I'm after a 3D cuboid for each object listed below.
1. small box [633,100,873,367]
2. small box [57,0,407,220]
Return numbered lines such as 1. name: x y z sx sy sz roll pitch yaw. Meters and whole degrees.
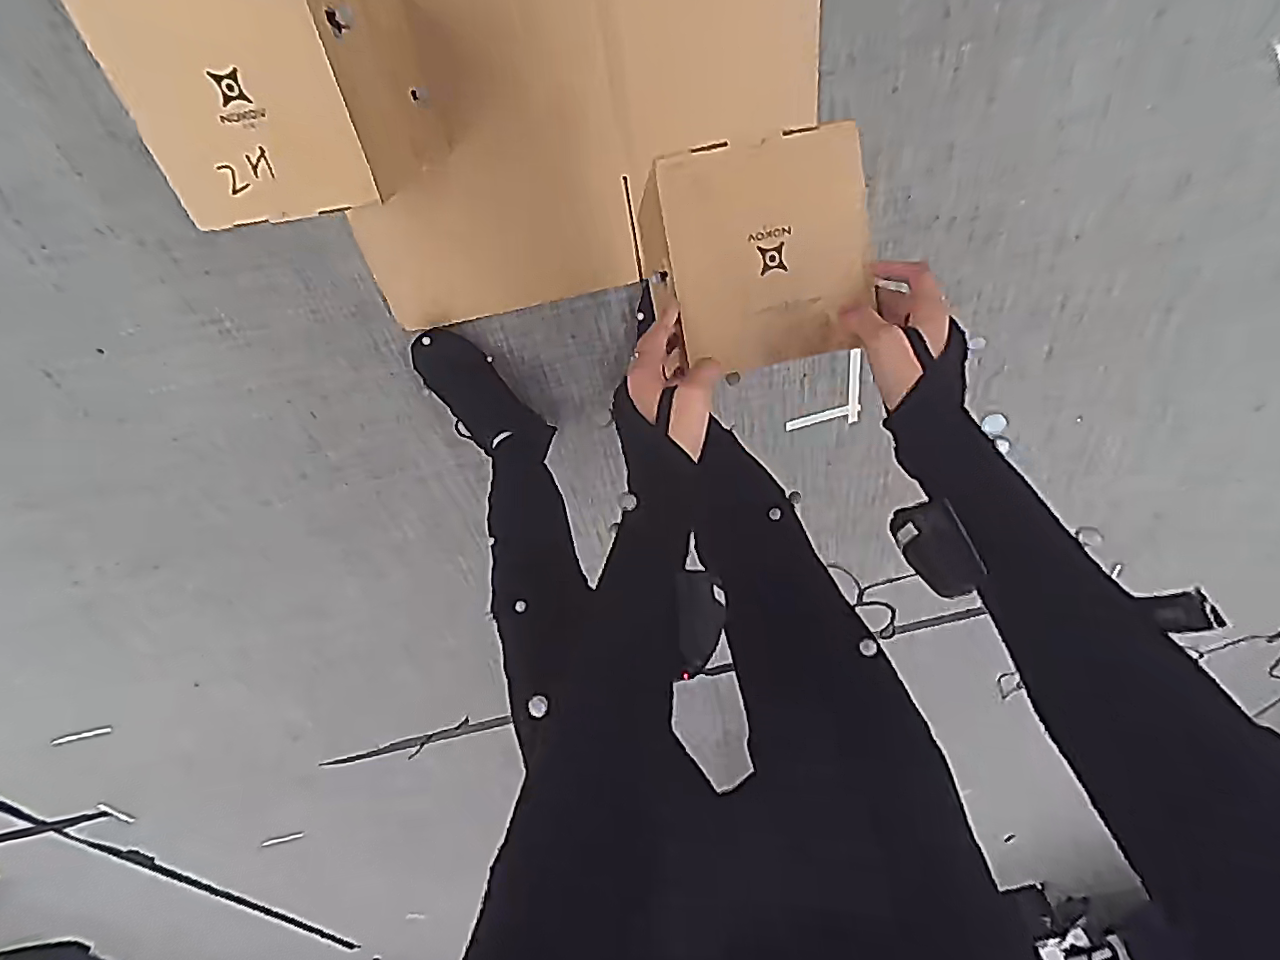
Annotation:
1. small box: 0.091 -0.209 0.506 0.168 0.176 0.179 -12 102 -2
2. small box: -0.330 -0.352 0.477 0.168 0.176 0.179 -10 129 -2
